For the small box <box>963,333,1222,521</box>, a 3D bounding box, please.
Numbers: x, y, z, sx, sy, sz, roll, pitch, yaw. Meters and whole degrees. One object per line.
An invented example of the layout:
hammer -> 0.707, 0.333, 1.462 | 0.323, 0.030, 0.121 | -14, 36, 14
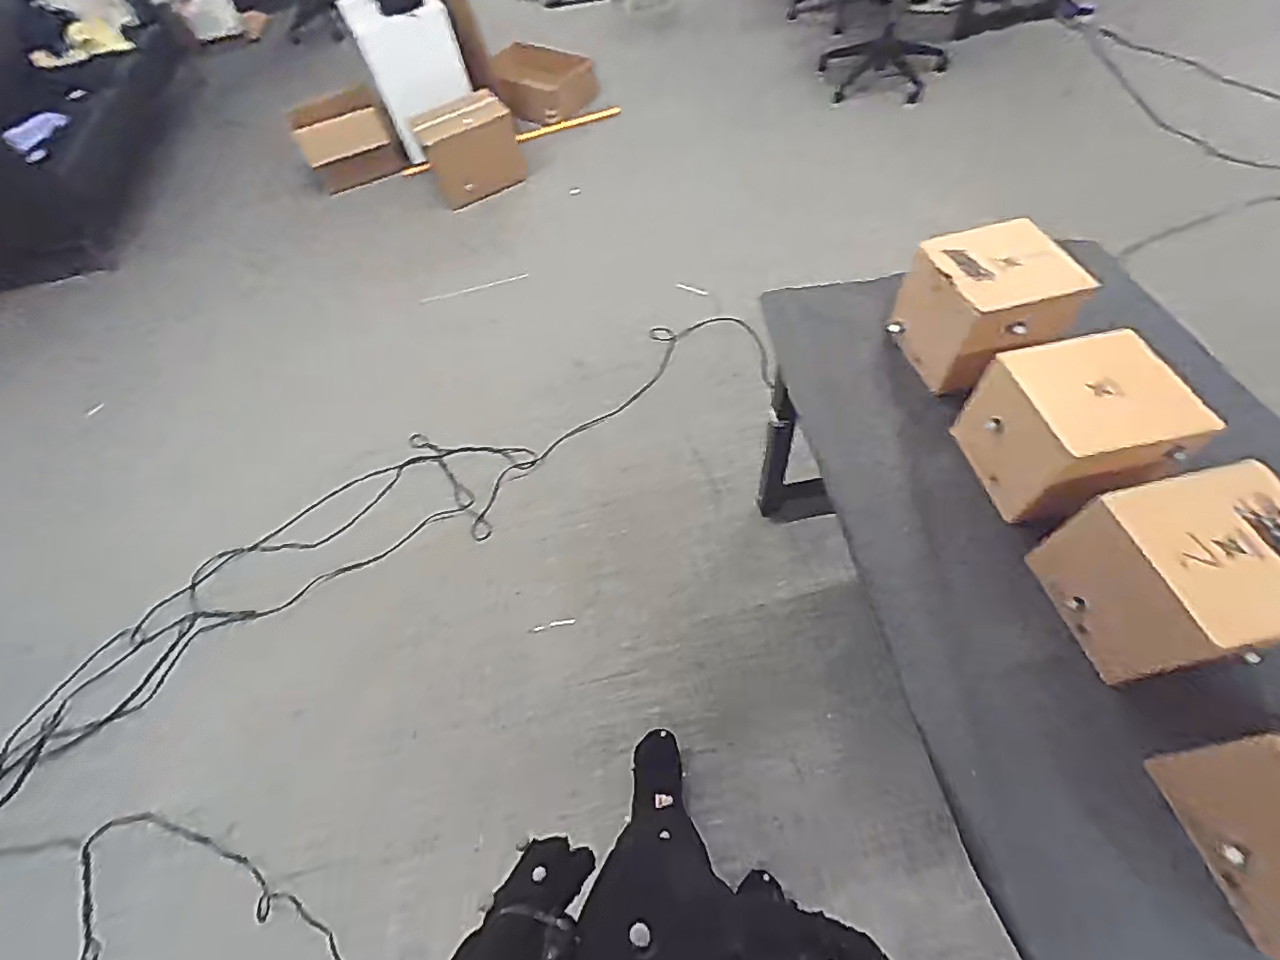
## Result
small box -> 0.561, -0.062, 0.711 | 0.179, 0.176, 0.168 | -11, 57, 0

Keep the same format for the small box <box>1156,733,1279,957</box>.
small box -> 0.629, 0.307, 0.466 | 0.179, 0.176, 0.168 | -11, 57, 0

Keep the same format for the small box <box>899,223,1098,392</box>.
small box -> 0.529, -0.259, 0.837 | 0.179, 0.176, 0.168 | -13, 58, -2
